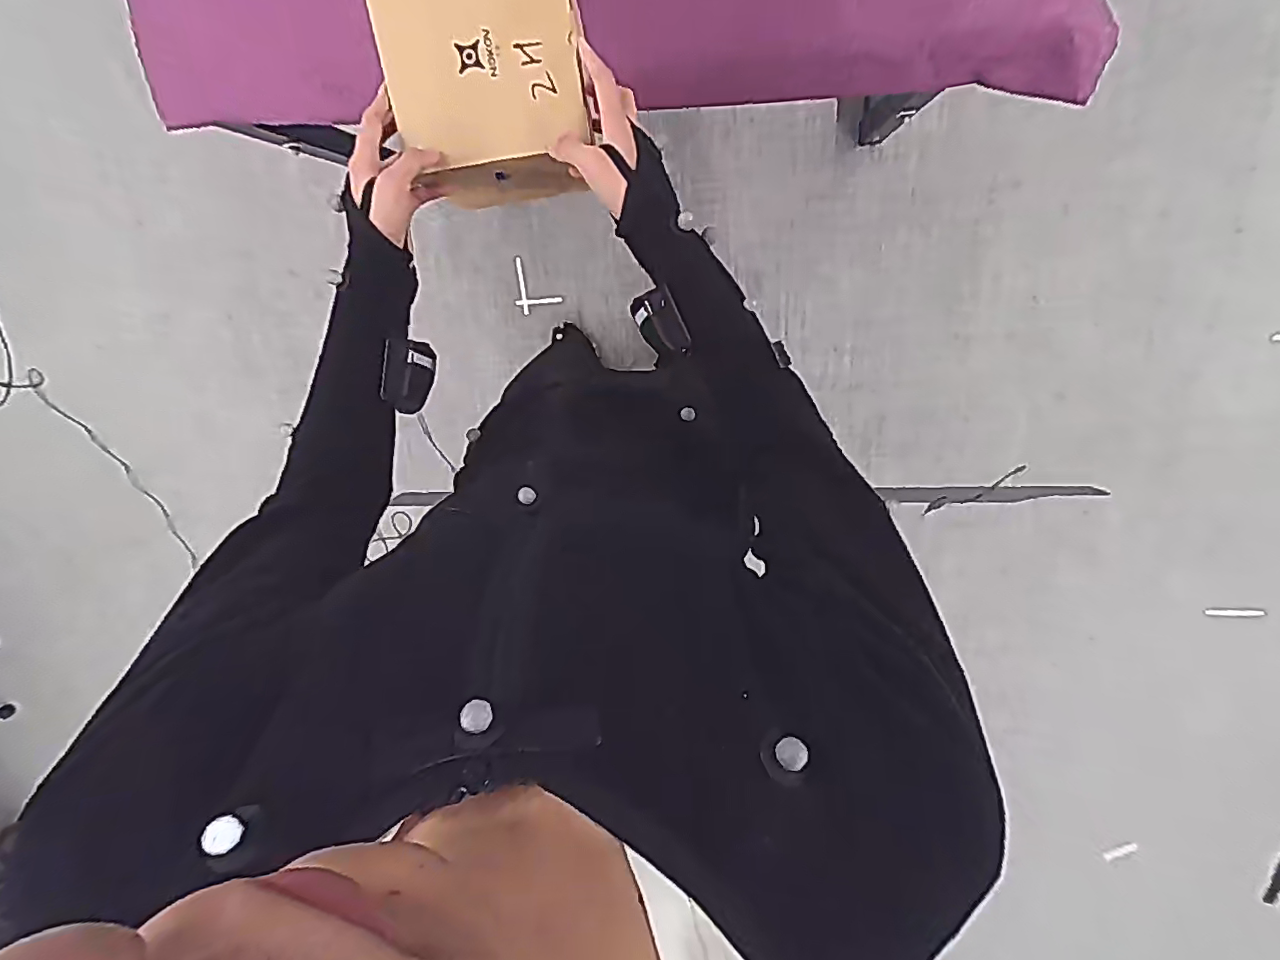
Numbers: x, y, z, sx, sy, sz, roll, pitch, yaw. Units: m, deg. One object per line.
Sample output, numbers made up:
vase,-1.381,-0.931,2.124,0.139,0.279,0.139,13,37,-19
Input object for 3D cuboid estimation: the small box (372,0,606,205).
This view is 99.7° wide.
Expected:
small box,-0.136,-0.393,0.549,0.179,0.176,0.168,-7,107,2
